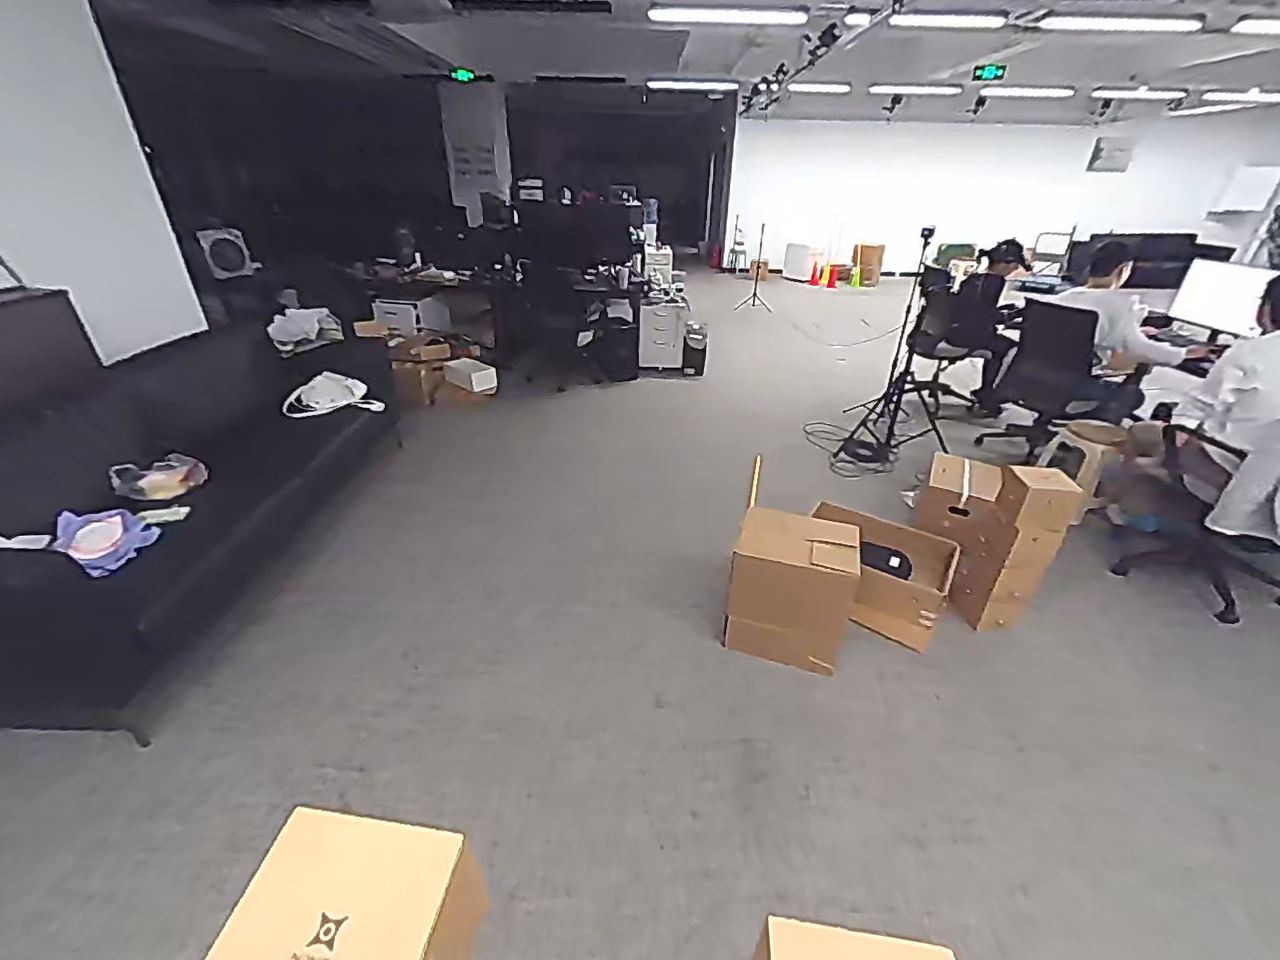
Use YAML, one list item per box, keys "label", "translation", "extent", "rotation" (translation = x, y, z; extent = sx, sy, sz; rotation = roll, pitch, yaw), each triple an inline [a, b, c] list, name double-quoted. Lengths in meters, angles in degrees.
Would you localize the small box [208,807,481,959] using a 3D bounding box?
- label: "small box"
  translation: [-0.251, 0.428, 0.475]
  extent: [0.168, 0.176, 0.179]
  rotation: [7, 38, 5]
